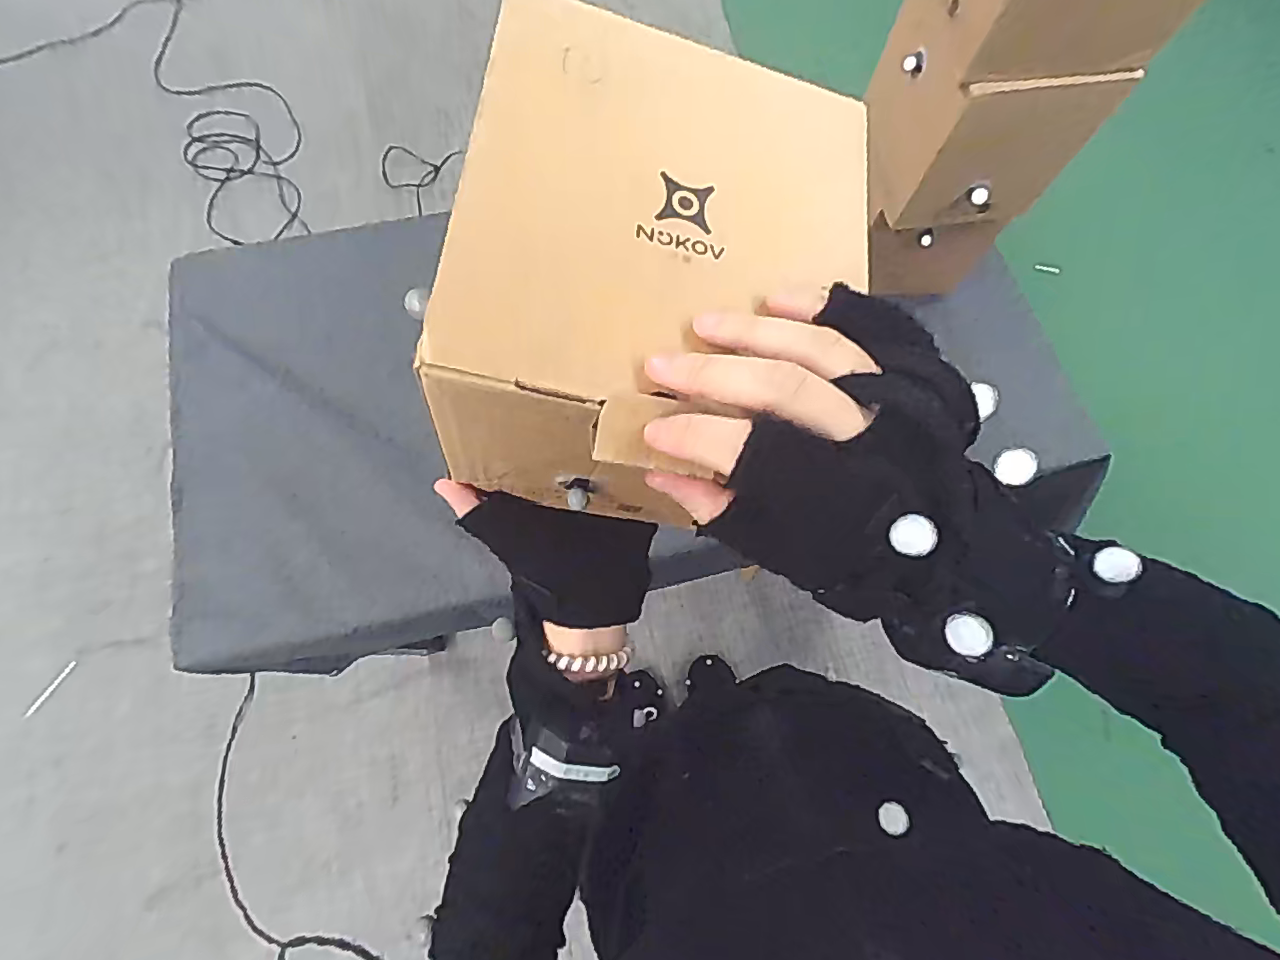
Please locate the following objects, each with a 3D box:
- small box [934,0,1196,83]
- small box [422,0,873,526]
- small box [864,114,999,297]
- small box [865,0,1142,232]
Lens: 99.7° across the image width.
[{"bbox_3d":[0.362,-0.459,0.436,0.179,0.176,0.168,-4,73,-2],"label":"small box"},{"bbox_3d":[-0.003,-0.084,0.284,0.168,0.176,0.179,10,74,-12],"label":"small box"},{"bbox_3d":[0.370,-0.372,0.751,0.179,0.176,0.168,-1,72,-1],"label":"small box"},{"bbox_3d":[0.366,-0.406,0.590,0.168,0.176,0.179,-7,72,-2],"label":"small box"}]
